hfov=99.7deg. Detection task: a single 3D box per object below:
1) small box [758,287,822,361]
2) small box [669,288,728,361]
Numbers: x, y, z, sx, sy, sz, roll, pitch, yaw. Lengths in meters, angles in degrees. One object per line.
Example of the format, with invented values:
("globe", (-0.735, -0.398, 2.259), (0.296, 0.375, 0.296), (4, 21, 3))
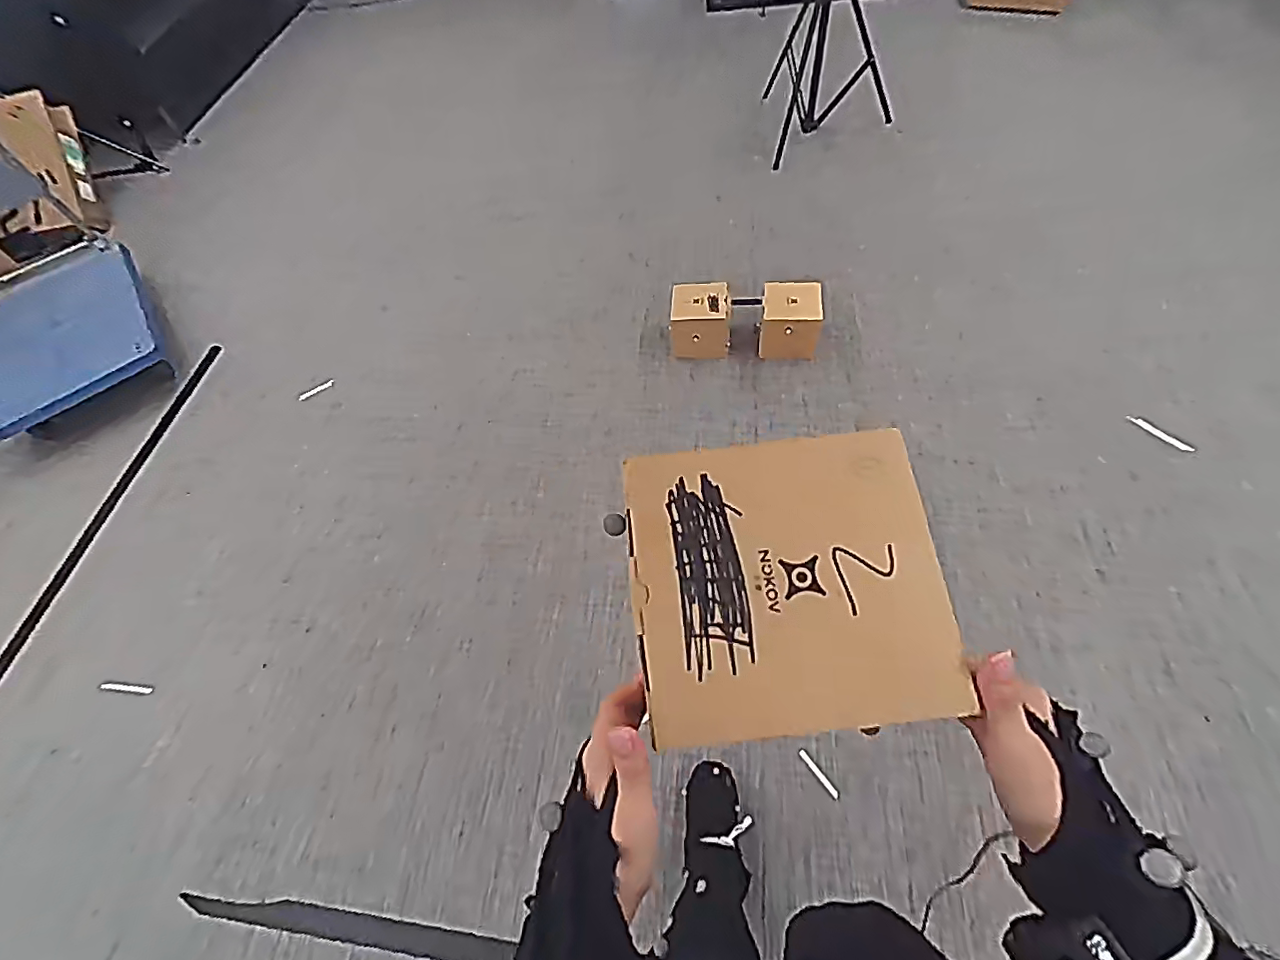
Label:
("small box", (0.476, -0.497, 1.734), (0.179, 0.176, 0.168), (3, 60, 10))
("small box", (0.196, -0.507, 1.776), (0.179, 0.176, 0.168), (1, 59, 10))
